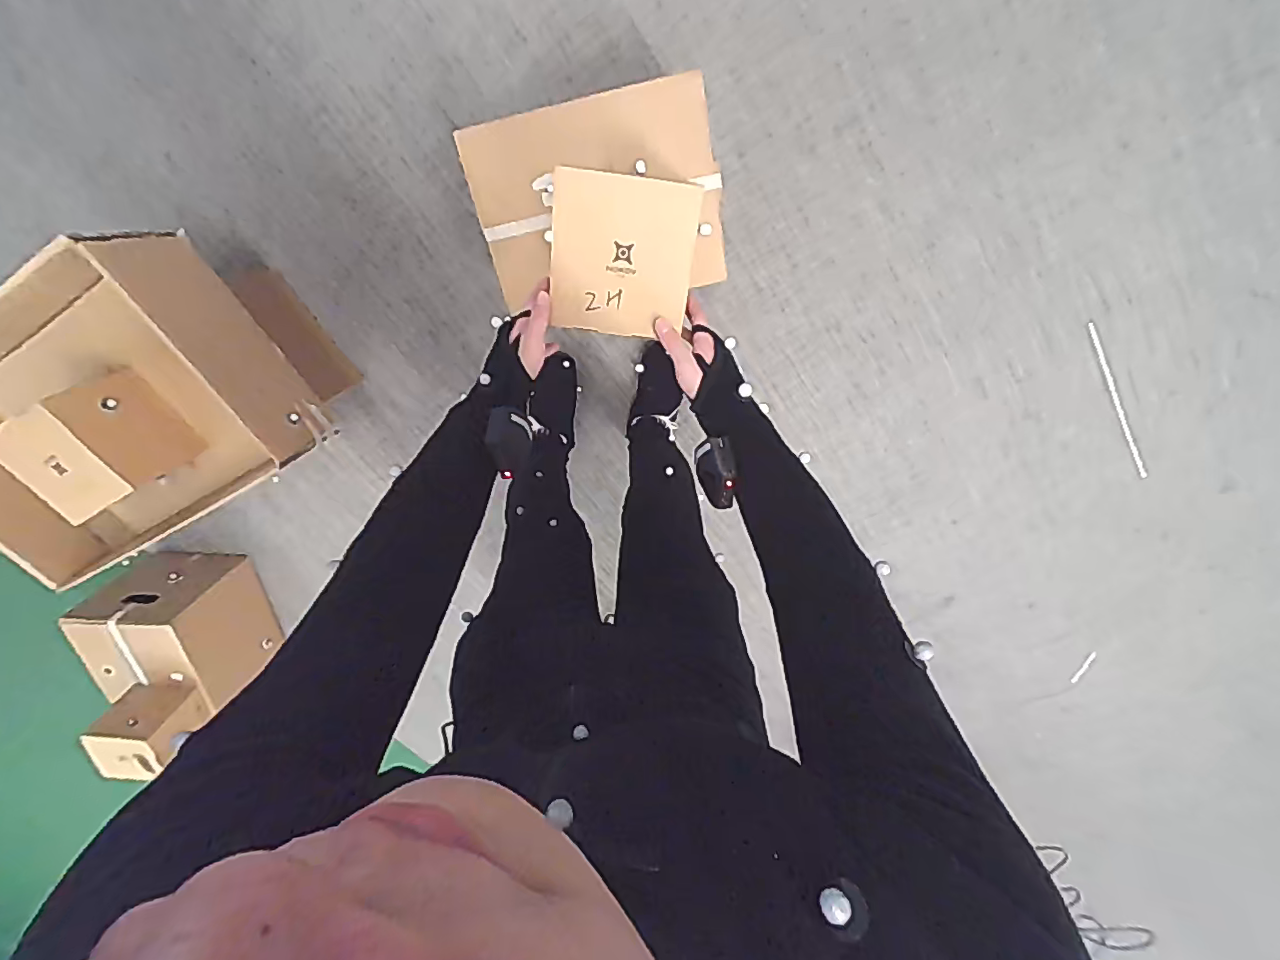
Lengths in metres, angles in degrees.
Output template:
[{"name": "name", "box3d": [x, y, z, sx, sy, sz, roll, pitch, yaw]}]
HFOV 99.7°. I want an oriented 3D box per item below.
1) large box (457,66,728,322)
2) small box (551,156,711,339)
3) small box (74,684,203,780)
[{"name": "large box", "box3d": [-0.061, -0.527, 1.032, 0.408, 0.320, 0.320, -9, 117, 8]}, {"name": "small box", "box3d": [-0.013, -0.297, 0.687, 0.168, 0.176, 0.179, 8, 120, -1]}, {"name": "small box", "box3d": [-1.323, 0.671, 1.449, 0.179, 0.176, 0.168, 5, 118, 0]}]
